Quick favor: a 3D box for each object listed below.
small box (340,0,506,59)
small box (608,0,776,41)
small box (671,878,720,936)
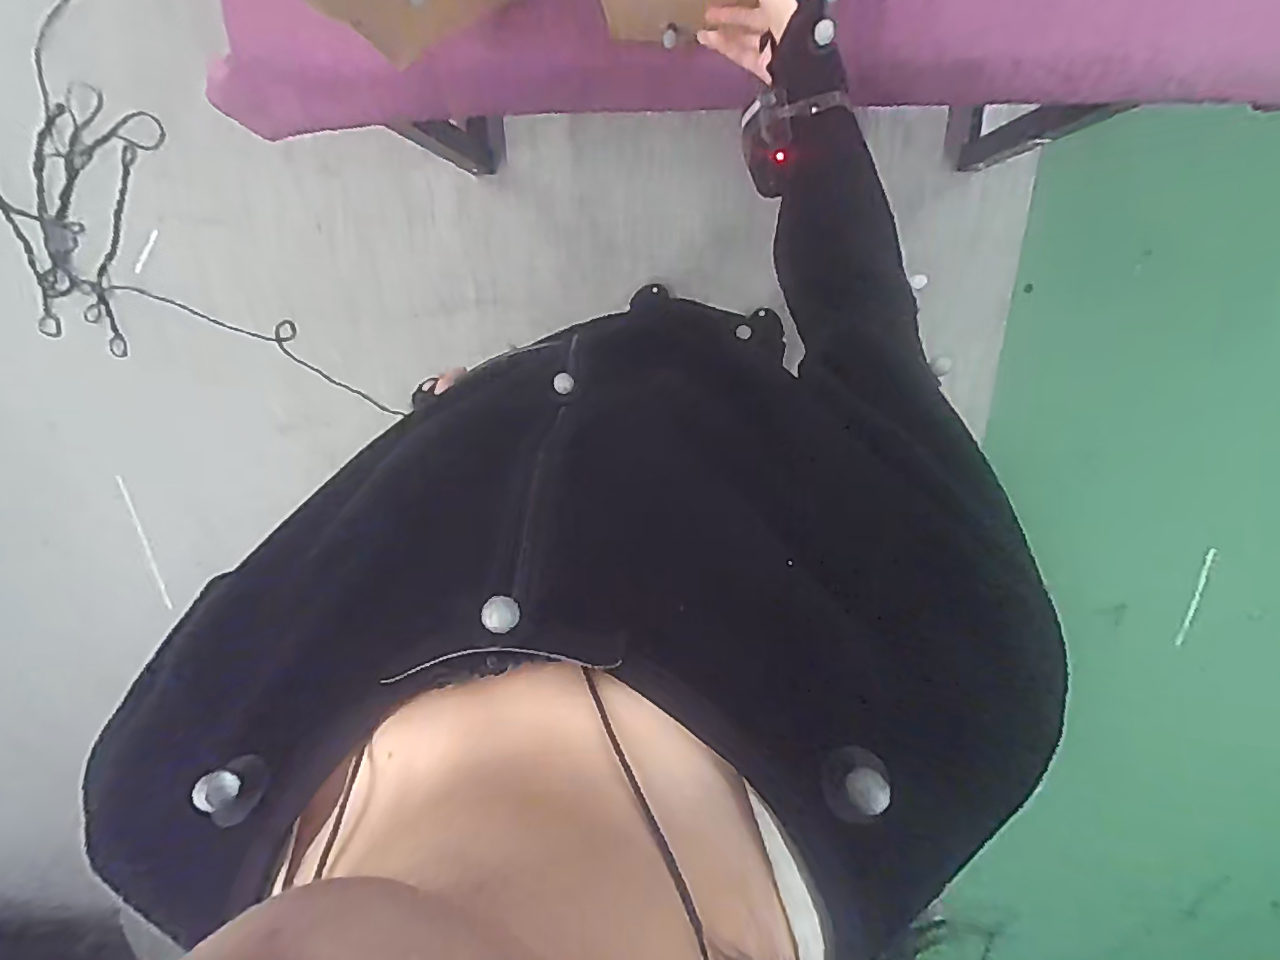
[{"bbox_3d":[-0.233,-0.547,0.504,0.179,0.176,0.168,-23,106,11],"label":"small box"},{"bbox_3d":[0.048,-0.529,0.483,0.168,0.176,0.179,2,115,3],"label":"small box"},{"bbox_3d":[0.193,1.464,1.919,0.168,0.176,0.179,1,109,4],"label":"small box"}]
